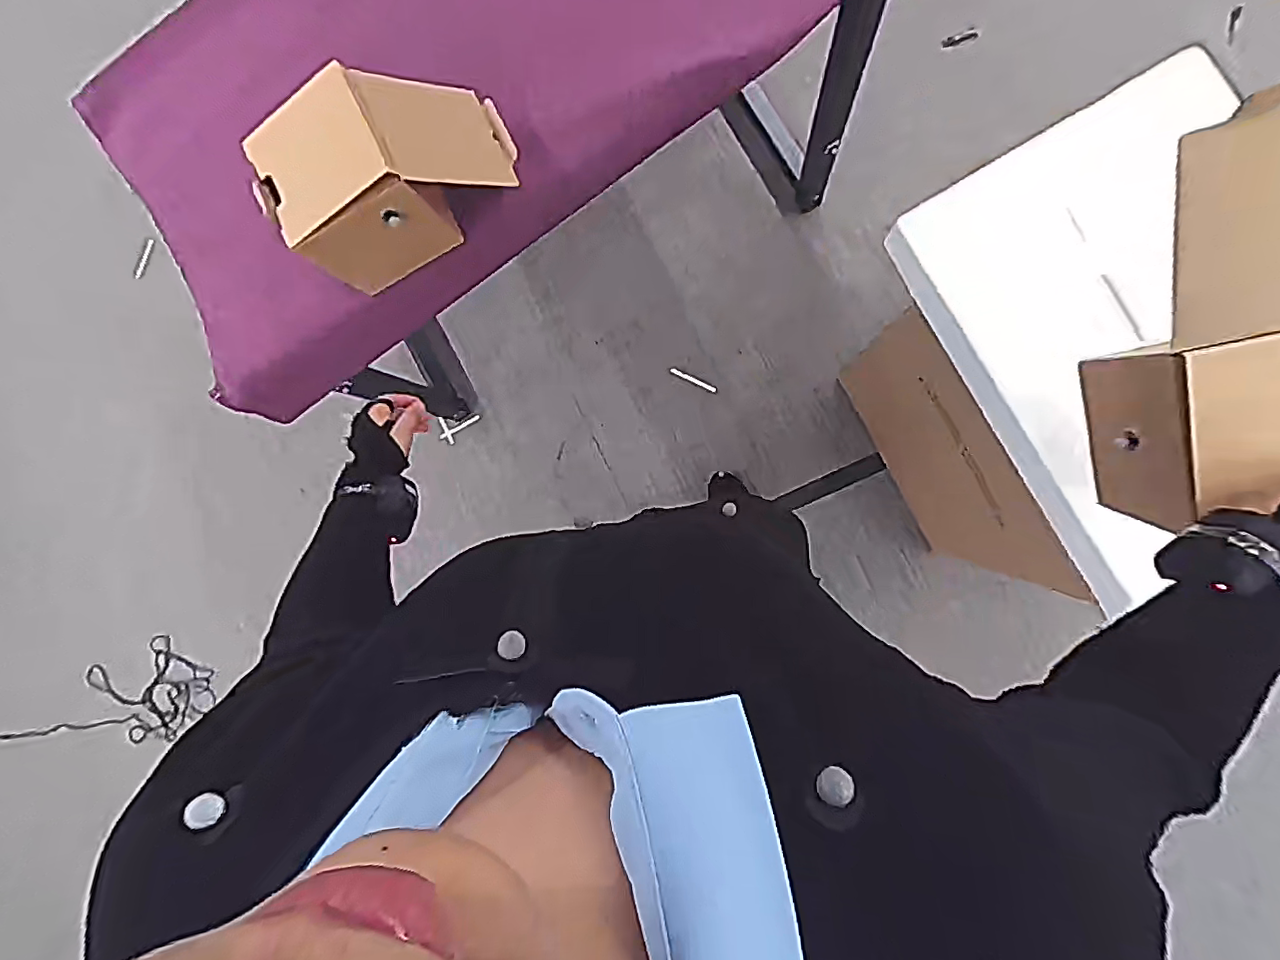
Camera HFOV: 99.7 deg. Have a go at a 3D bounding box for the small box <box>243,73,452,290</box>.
[{"bbox_3d":[-0.392,-0.403,0.762,0.179,0.176,0.168,-27,85,8],"label":"small box"}]
